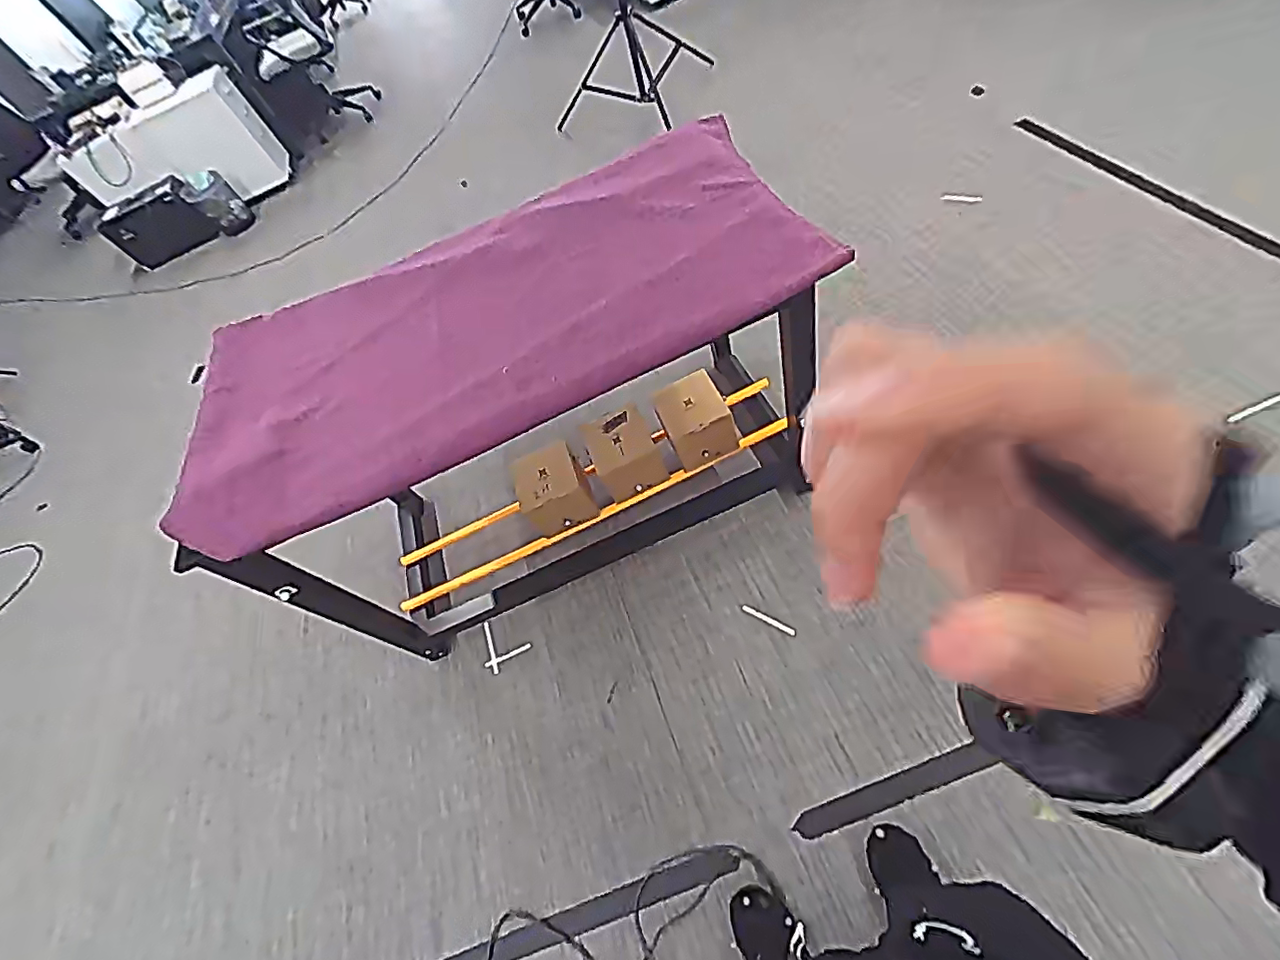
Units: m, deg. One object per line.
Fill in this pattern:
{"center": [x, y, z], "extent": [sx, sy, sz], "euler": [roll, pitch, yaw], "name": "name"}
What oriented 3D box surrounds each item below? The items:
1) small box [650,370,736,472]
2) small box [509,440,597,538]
{"center": [0.145, -0.155, 1.459], "extent": [0.168, 0.176, 0.179], "euler": [-26, 57, 2], "name": "small box"}
{"center": [-0.233, 0.027, 1.470], "extent": [0.168, 0.176, 0.179], "euler": [-24, 57, 2], "name": "small box"}
